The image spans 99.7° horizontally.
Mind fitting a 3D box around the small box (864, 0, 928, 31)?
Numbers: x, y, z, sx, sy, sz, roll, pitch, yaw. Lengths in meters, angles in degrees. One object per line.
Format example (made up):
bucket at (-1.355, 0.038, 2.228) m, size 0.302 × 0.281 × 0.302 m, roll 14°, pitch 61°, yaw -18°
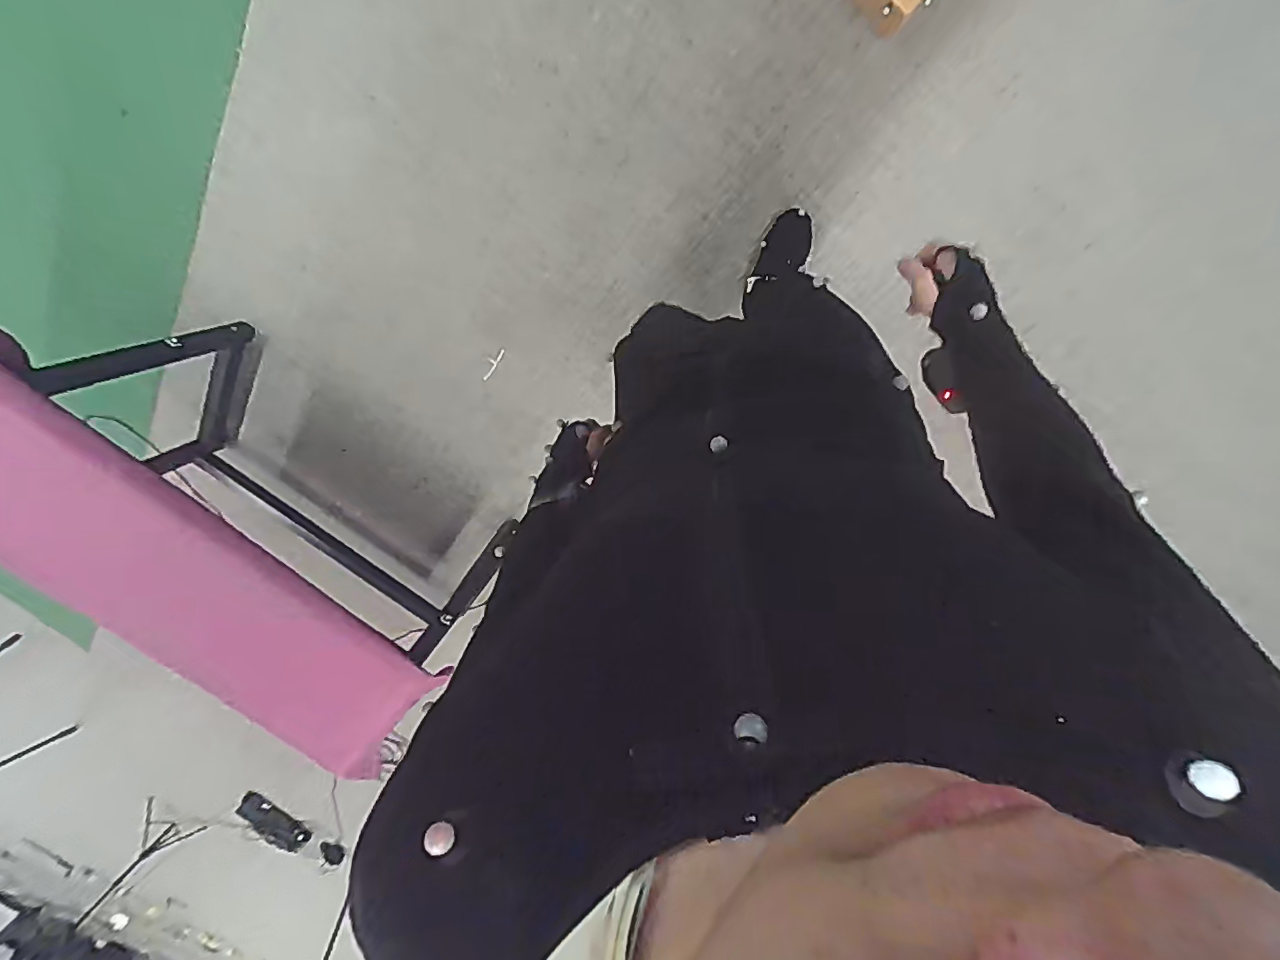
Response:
small box at (0.510, -1.010, 1.029) m, size 0.179 × 0.176 × 0.168 m, roll 41°, pitch 119°, yaw -8°
